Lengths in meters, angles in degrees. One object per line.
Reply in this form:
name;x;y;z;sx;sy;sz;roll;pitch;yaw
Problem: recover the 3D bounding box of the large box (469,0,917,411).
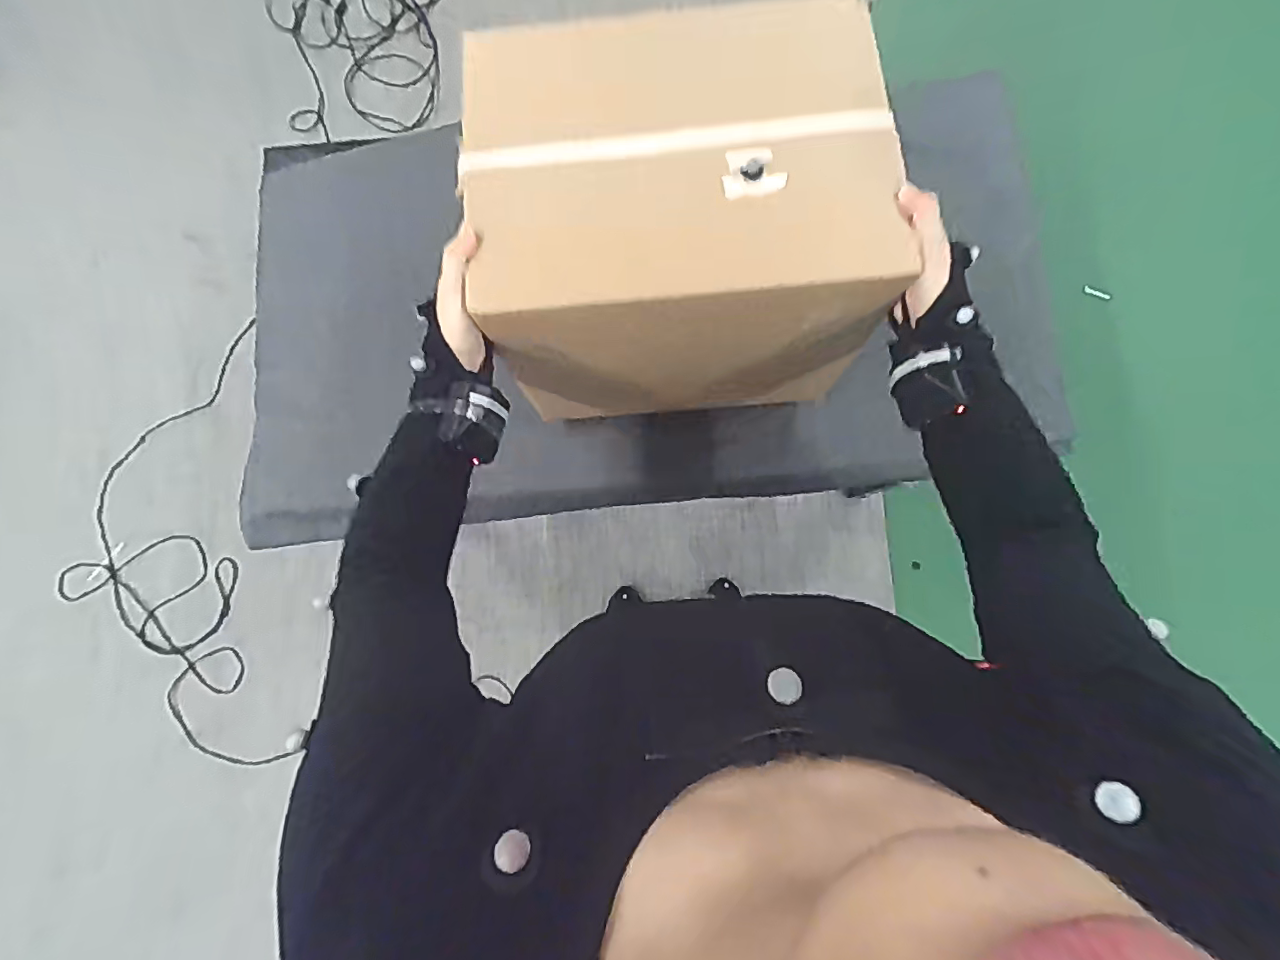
large box;0.041;-0.294;0.657;0.408;0.320;0.320;-5;79;2
